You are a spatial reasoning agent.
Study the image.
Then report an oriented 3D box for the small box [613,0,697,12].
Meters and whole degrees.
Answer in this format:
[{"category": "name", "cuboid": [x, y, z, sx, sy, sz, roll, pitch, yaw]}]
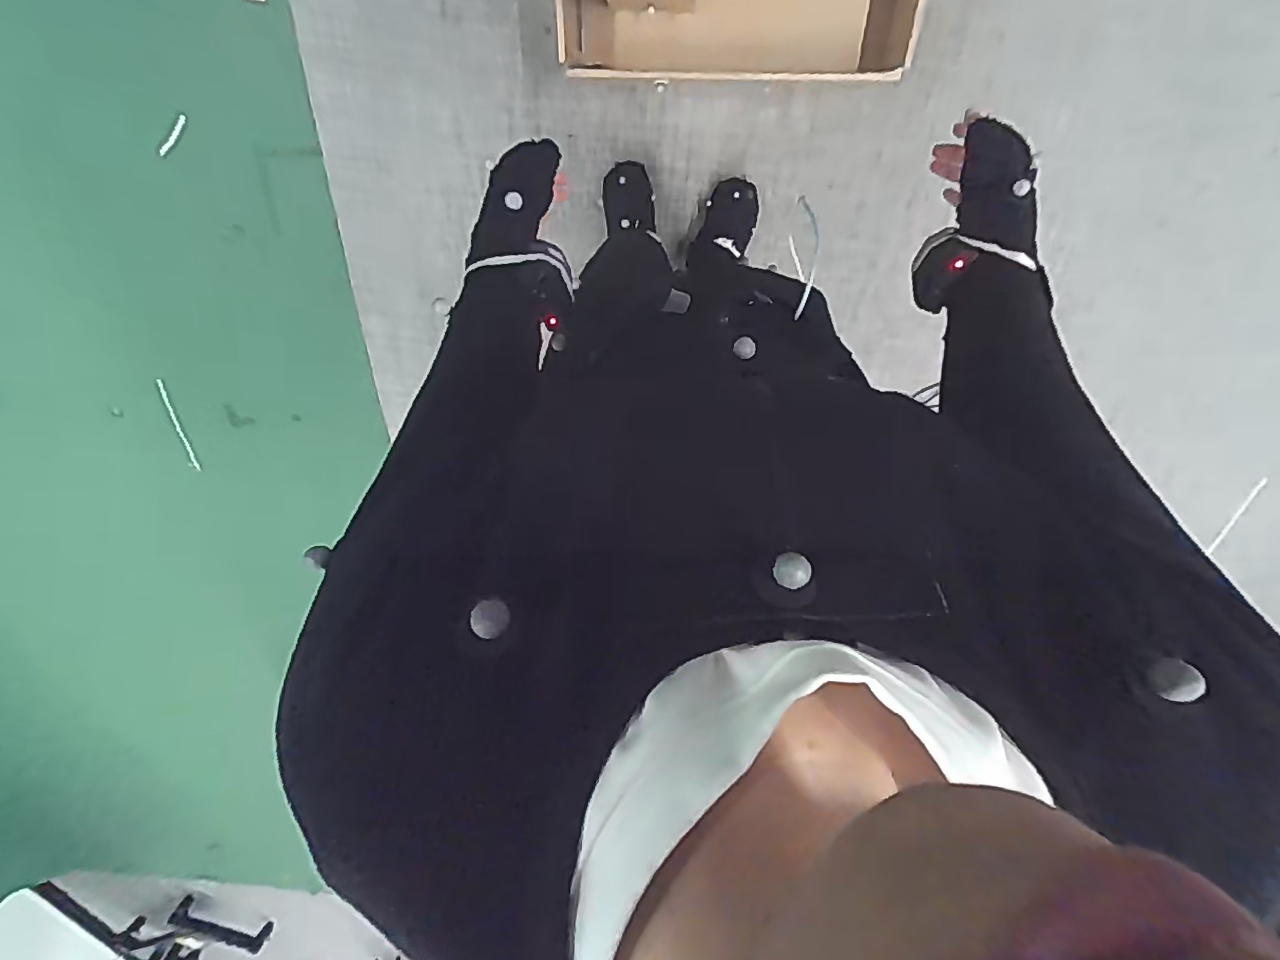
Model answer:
[{"category": "small box", "cuboid": [0.025, -0.921, 0.904, 0.168, 0.176, 0.179, 4, 121, 1]}]
